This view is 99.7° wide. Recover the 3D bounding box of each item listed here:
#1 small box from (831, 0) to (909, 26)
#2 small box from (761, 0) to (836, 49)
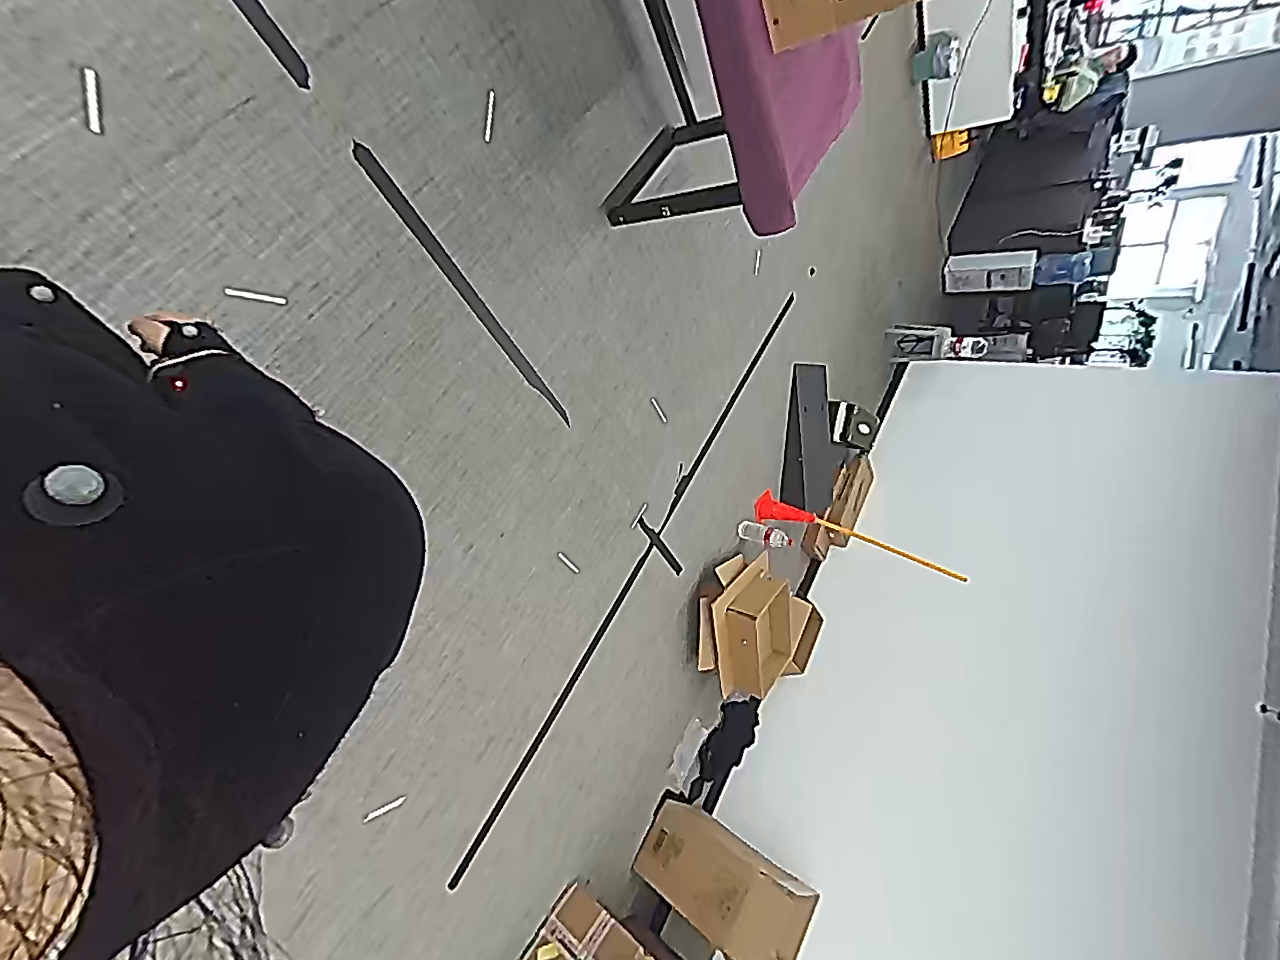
[{"bbox_3d":[0.529,-1.169,1.210,0.179,0.176,0.168,-57,137,-23],"label":"small box"},{"bbox_3d":[0.401,-1.194,1.310,0.179,0.176,0.168,-59,138,-23],"label":"small box"}]
